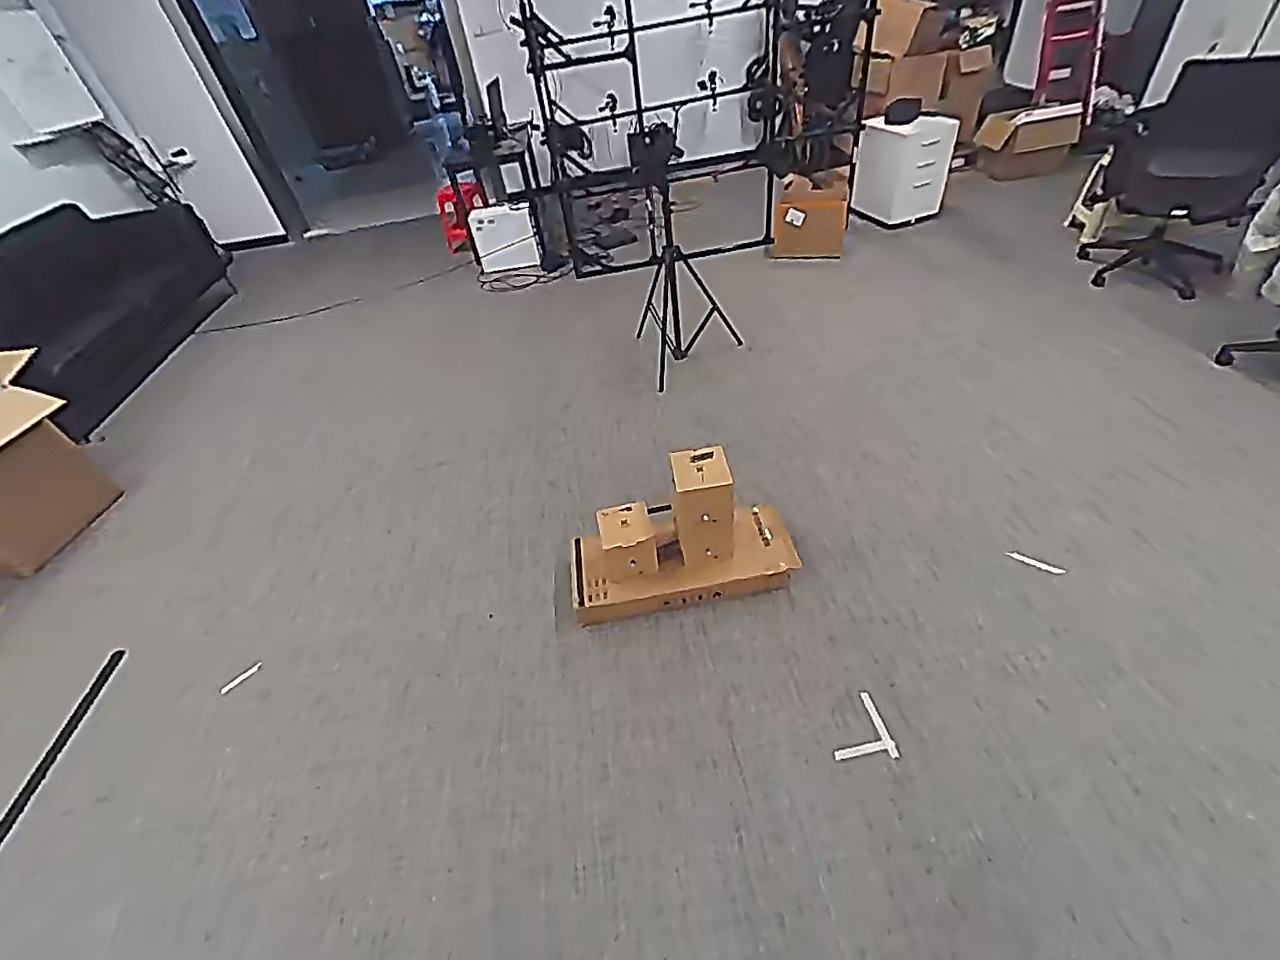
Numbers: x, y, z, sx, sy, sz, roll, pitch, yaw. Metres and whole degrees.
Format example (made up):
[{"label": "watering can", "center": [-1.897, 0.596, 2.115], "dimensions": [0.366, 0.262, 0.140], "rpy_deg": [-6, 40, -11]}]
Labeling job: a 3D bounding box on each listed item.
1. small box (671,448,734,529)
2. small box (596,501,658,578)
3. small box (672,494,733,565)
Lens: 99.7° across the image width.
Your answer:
[{"label": "small box", "center": [0.190, 0.027, 1.665], "dimensions": [0.168, 0.176, 0.179], "rpy_deg": [-9, 42, 2]}, {"label": "small box", "center": [-0.040, 0.201, 1.761], "dimensions": [0.168, 0.176, 0.179], "rpy_deg": [-12, 42, -3]}, {"label": "small box", "center": [0.203, 0.151, 1.772], "dimensions": [0.168, 0.176, 0.179], "rpy_deg": [-11, 42, -1]}]
